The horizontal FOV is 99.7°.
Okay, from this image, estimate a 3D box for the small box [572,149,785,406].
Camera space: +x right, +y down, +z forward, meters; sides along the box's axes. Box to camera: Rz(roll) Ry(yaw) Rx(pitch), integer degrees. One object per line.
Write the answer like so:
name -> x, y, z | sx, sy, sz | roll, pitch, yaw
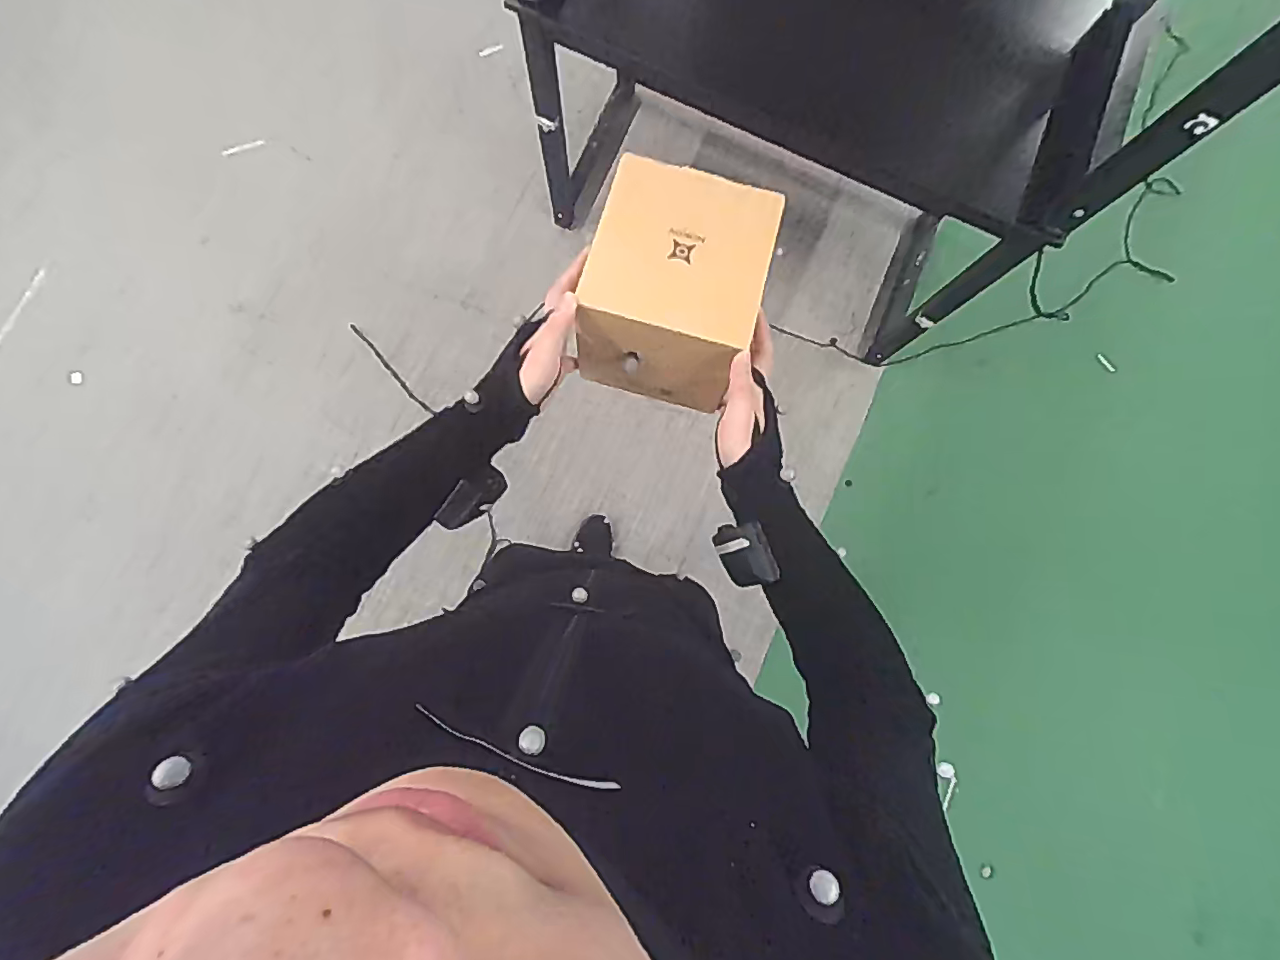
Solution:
small box -> 0.036, -0.199, 0.576 | 0.168, 0.176, 0.179 | 15, 76, 0
